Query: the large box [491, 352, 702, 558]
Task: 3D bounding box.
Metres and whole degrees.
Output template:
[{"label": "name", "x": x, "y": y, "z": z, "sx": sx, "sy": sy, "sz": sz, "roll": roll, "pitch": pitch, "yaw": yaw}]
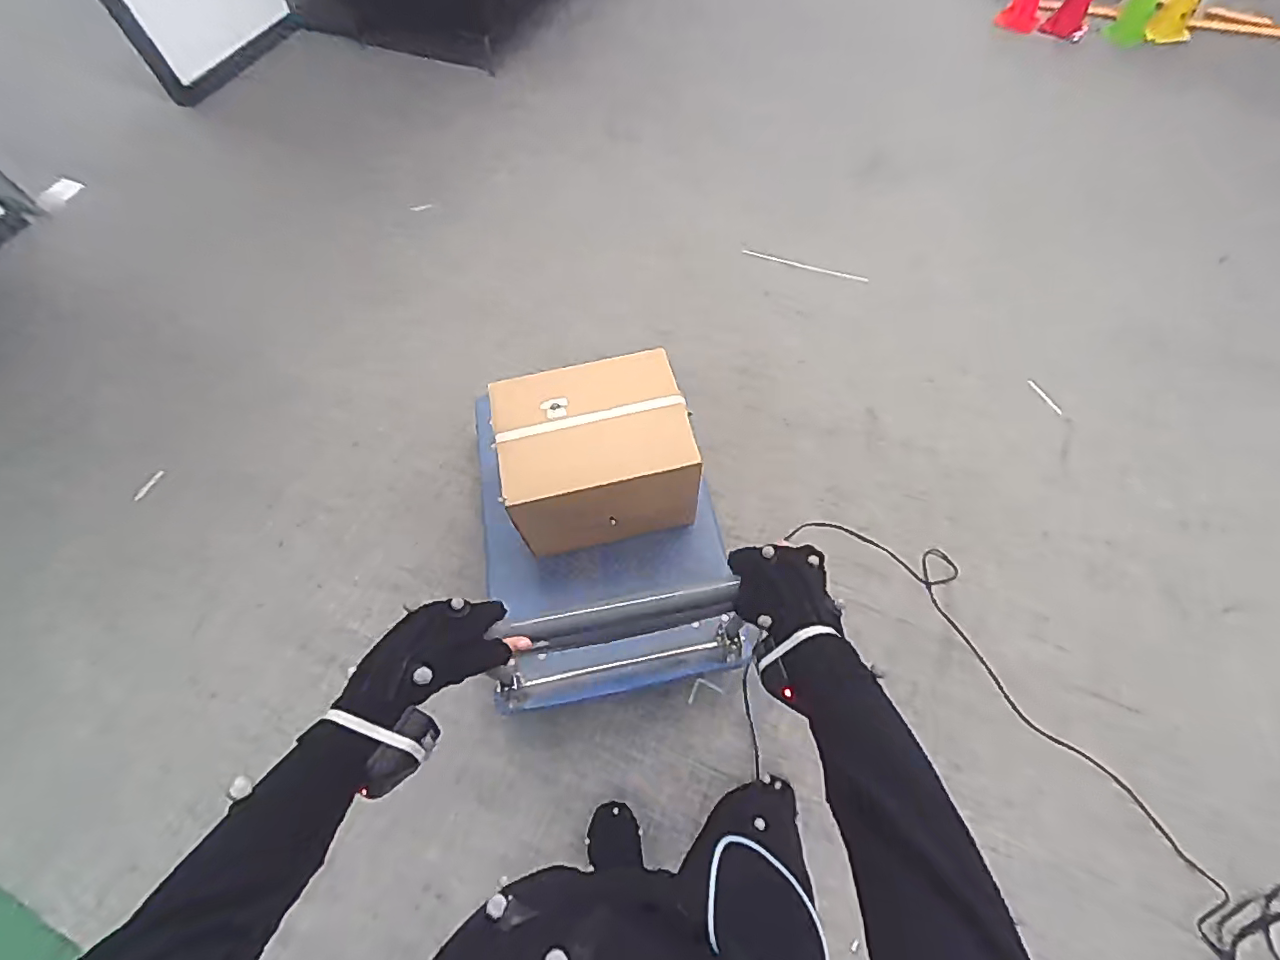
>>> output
[{"label": "large box", "x": -0.096, "y": -0.048, "z": 1.275, "sx": 0.408, "sy": 0.320, "sz": 0.320, "roll": -13, "pitch": 62, "yaw": -5}]
